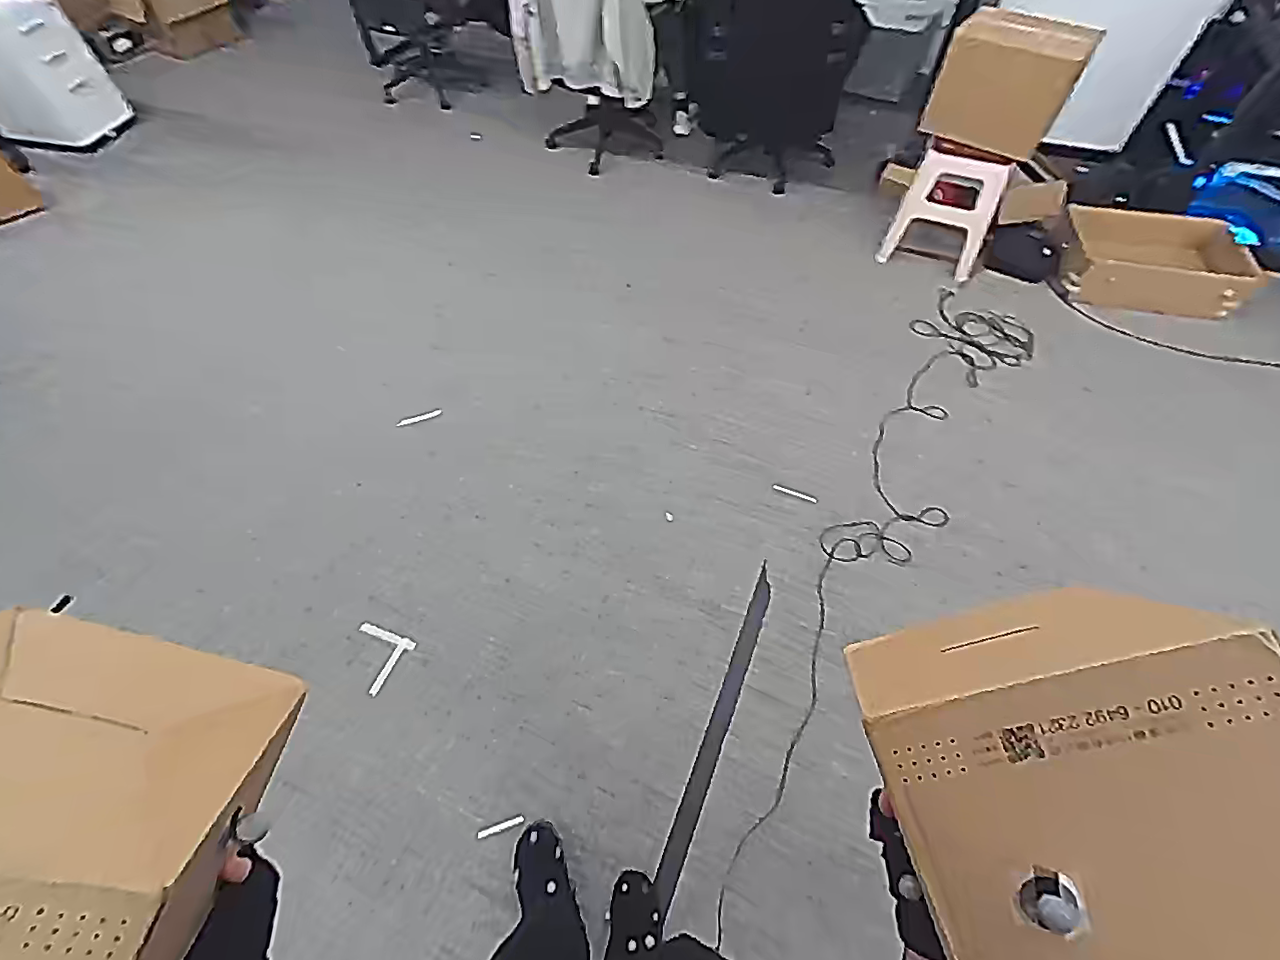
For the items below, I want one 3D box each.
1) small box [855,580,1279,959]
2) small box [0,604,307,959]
[{"bbox_3d":[0.232,0.160,0.299,0.168,0.179,0.176,-19,79,15],"label":"small box"},{"bbox_3d":[-0.296,0.176,0.253,0.168,0.179,0.176,24,87,-16],"label":"small box"}]
